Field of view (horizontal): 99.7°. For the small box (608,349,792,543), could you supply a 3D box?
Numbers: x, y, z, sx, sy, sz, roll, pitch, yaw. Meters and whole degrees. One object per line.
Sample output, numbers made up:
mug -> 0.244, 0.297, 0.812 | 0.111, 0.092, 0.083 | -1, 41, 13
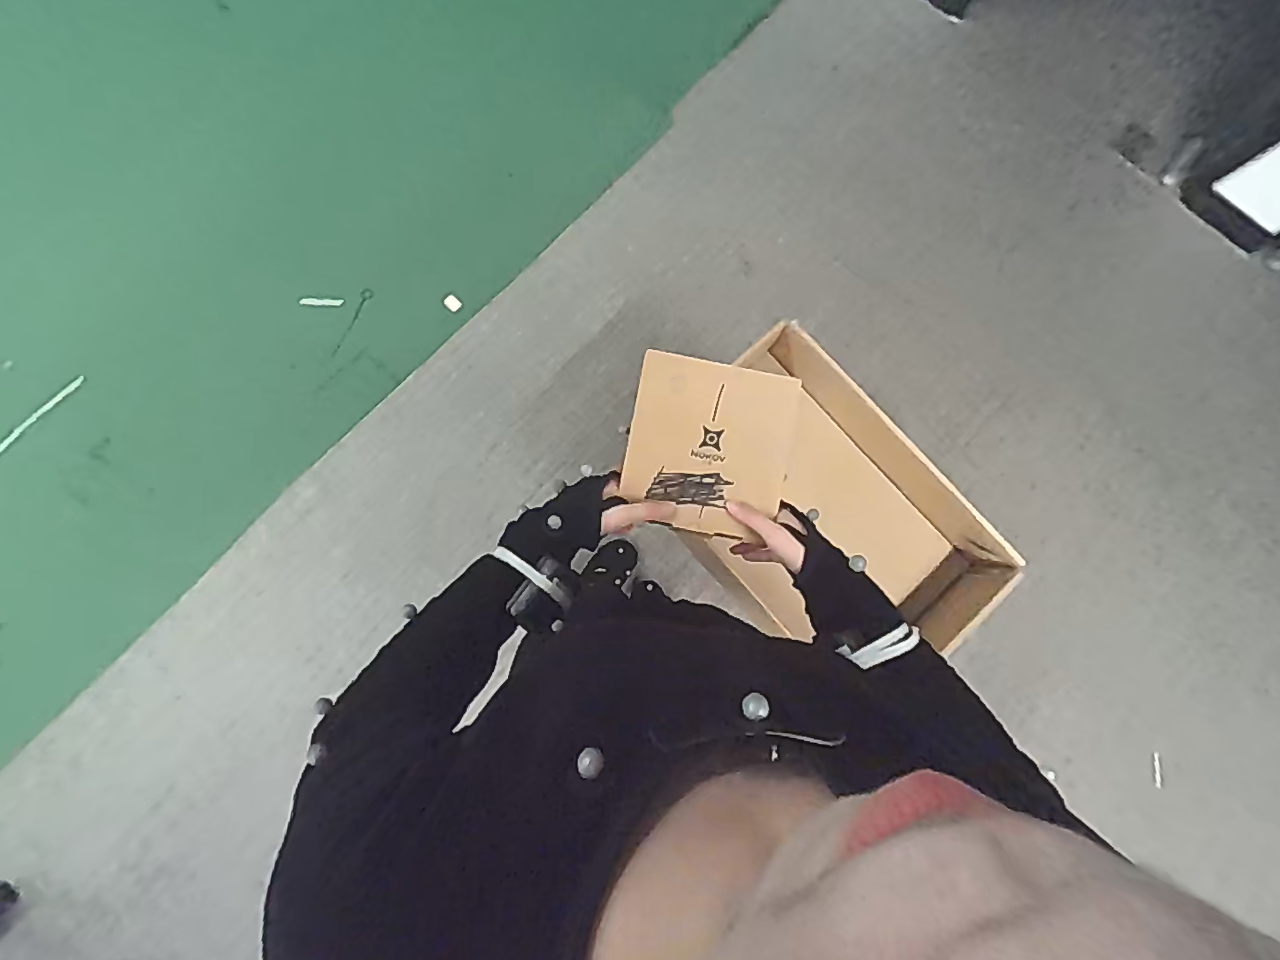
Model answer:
small box -> 0.060, -0.033, 0.631 | 0.168, 0.176, 0.179 | 10, 88, -2
